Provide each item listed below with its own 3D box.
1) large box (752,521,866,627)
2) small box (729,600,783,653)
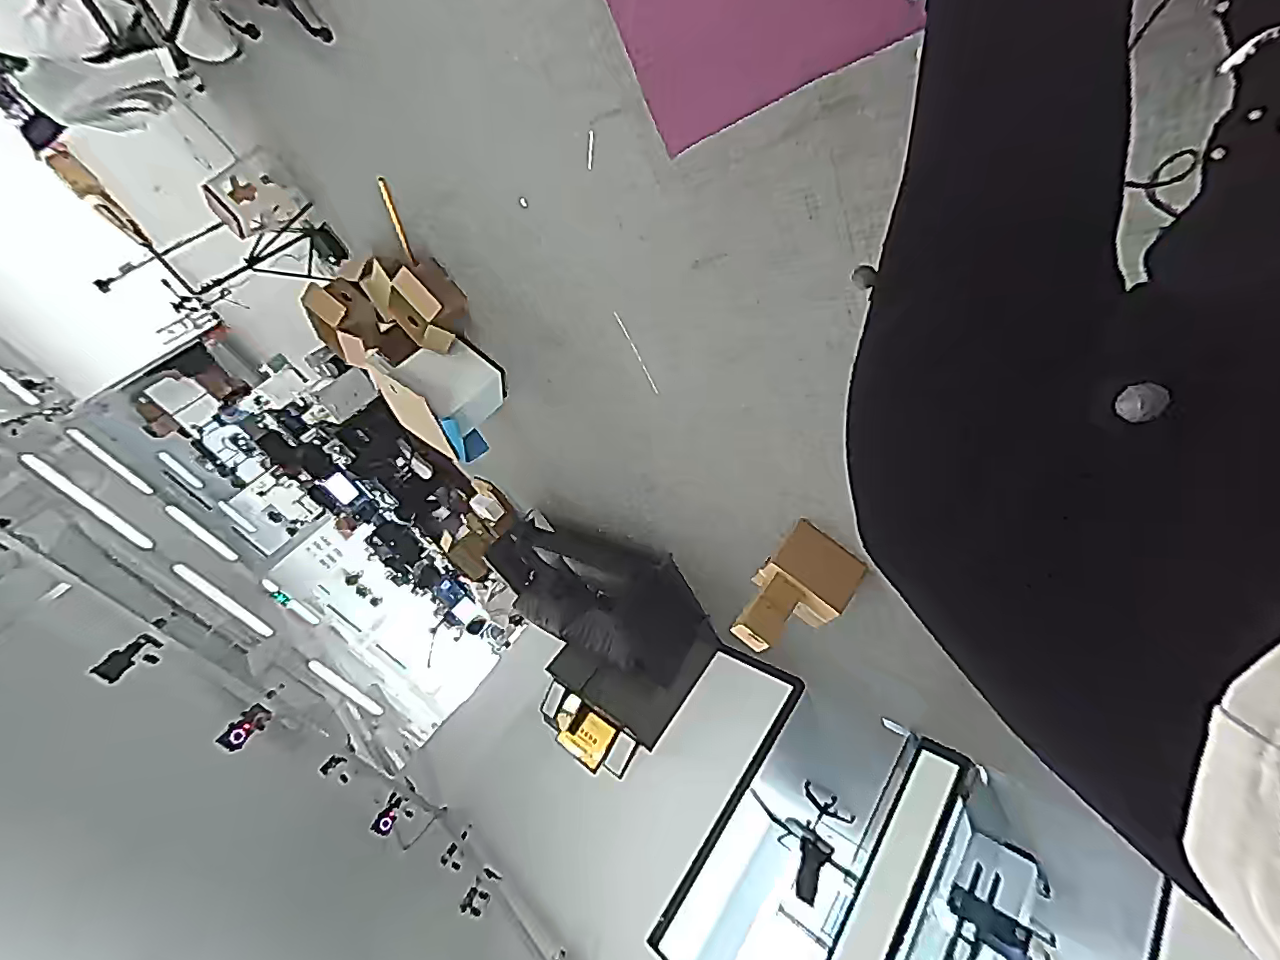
[{"bbox_3d":[0.859,0.480,2.771,0.408,0.320,0.320,37,155,10],"label":"large box"},{"bbox_3d":[0.558,0.693,2.575,0.168,0.176,0.179,38,155,9],"label":"small box"}]
